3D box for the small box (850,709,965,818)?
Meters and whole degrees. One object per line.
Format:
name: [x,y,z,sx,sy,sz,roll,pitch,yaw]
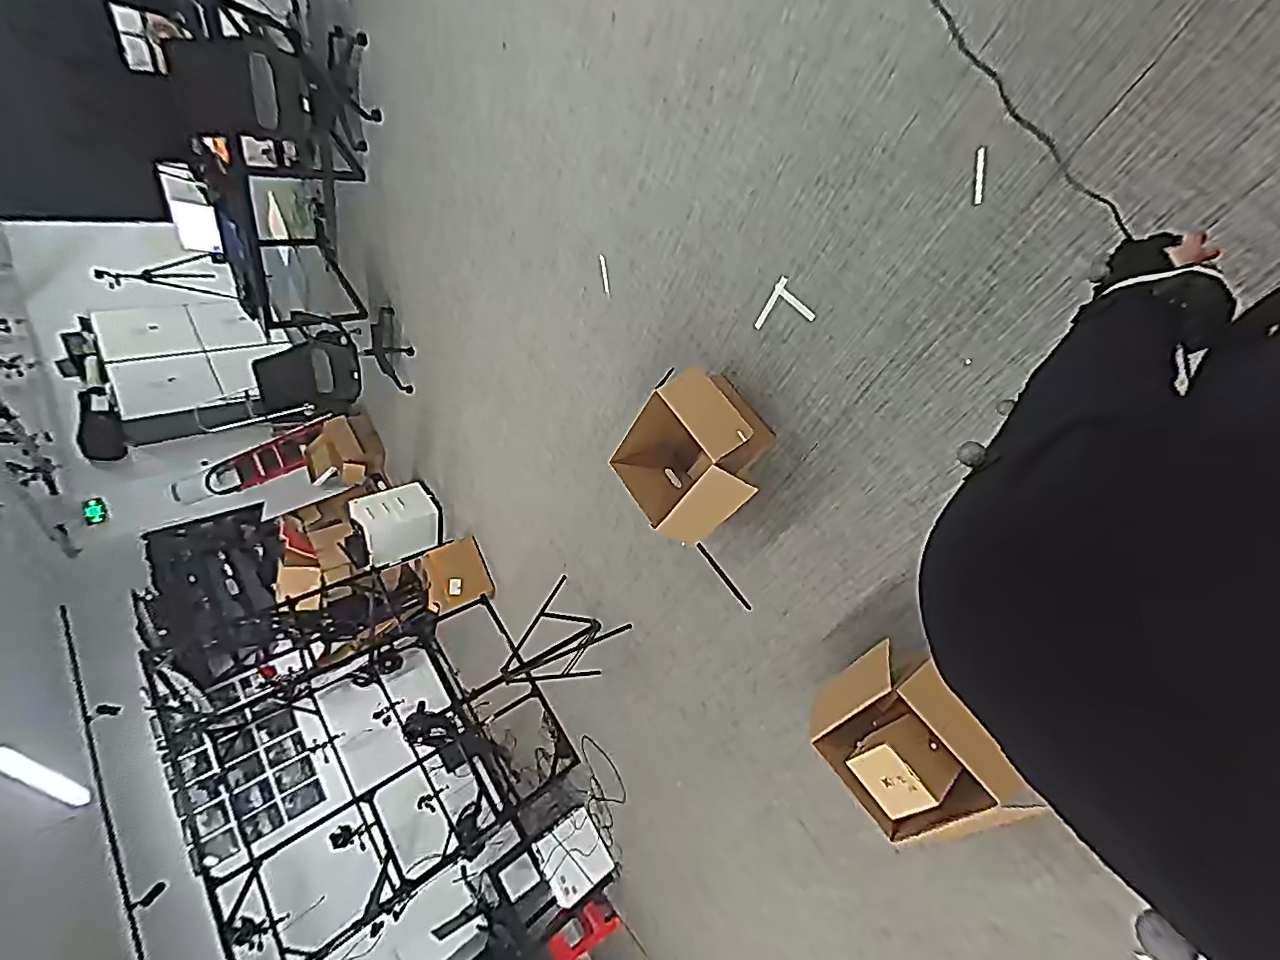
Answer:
small box: [0.693,0.730,1.397,0.168,0.176,0.179,51,139,23]
